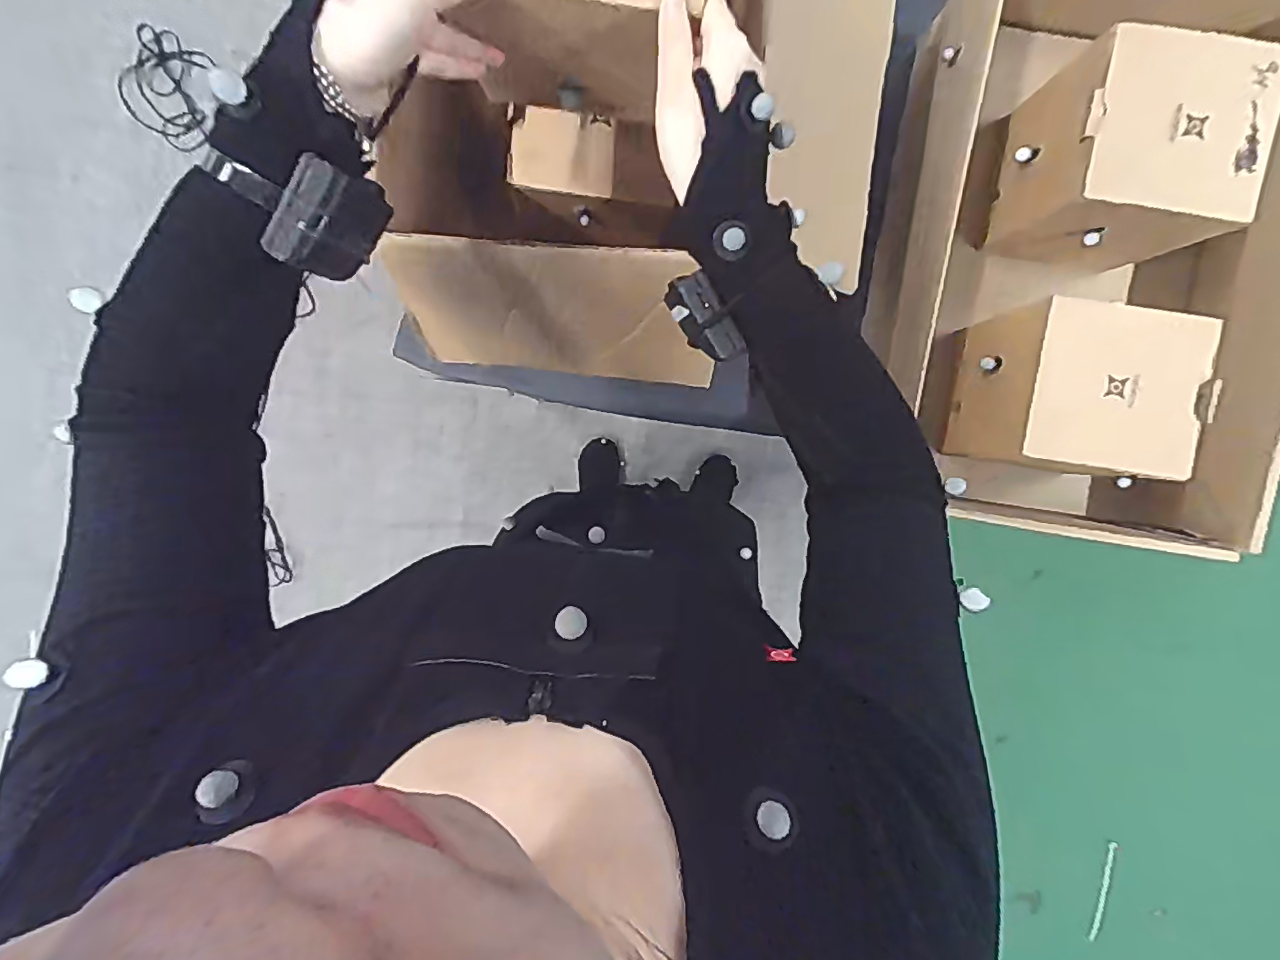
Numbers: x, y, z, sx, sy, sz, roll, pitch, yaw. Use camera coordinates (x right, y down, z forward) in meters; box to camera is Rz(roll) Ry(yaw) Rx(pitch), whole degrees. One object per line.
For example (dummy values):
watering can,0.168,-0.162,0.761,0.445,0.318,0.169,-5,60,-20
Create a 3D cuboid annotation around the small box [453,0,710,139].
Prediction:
small box,-0.033,-0.381,0.385,0.168,0.176,0.179,7,104,-4
